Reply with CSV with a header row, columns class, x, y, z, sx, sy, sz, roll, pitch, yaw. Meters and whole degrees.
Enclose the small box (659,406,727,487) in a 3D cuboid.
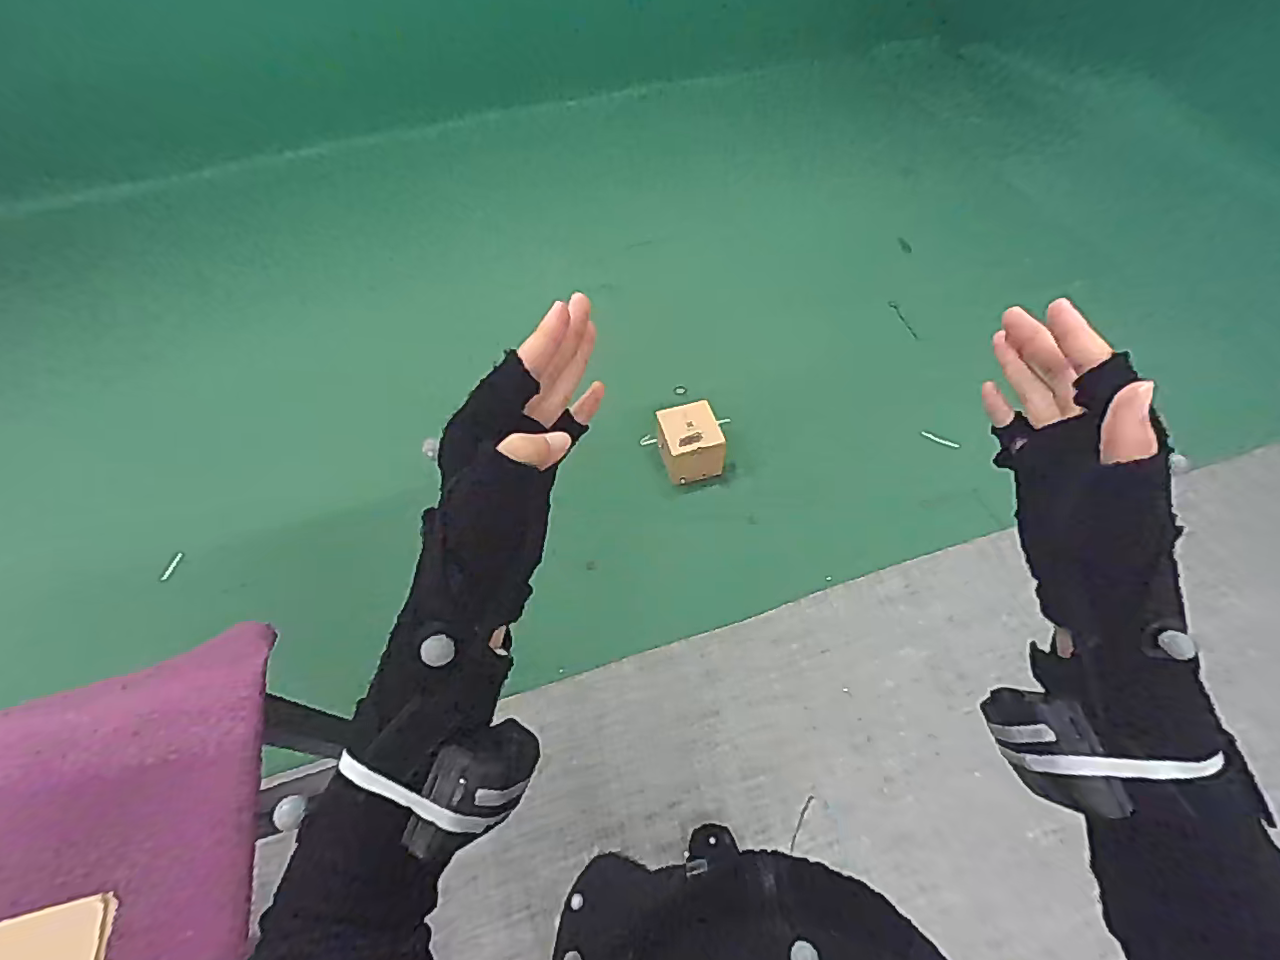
class,x,y,z,sx,sy,sz,roll,pitch,yaw
small box,0.162,-0.096,1.681,0.168,0.176,0.179,-14,56,-6
